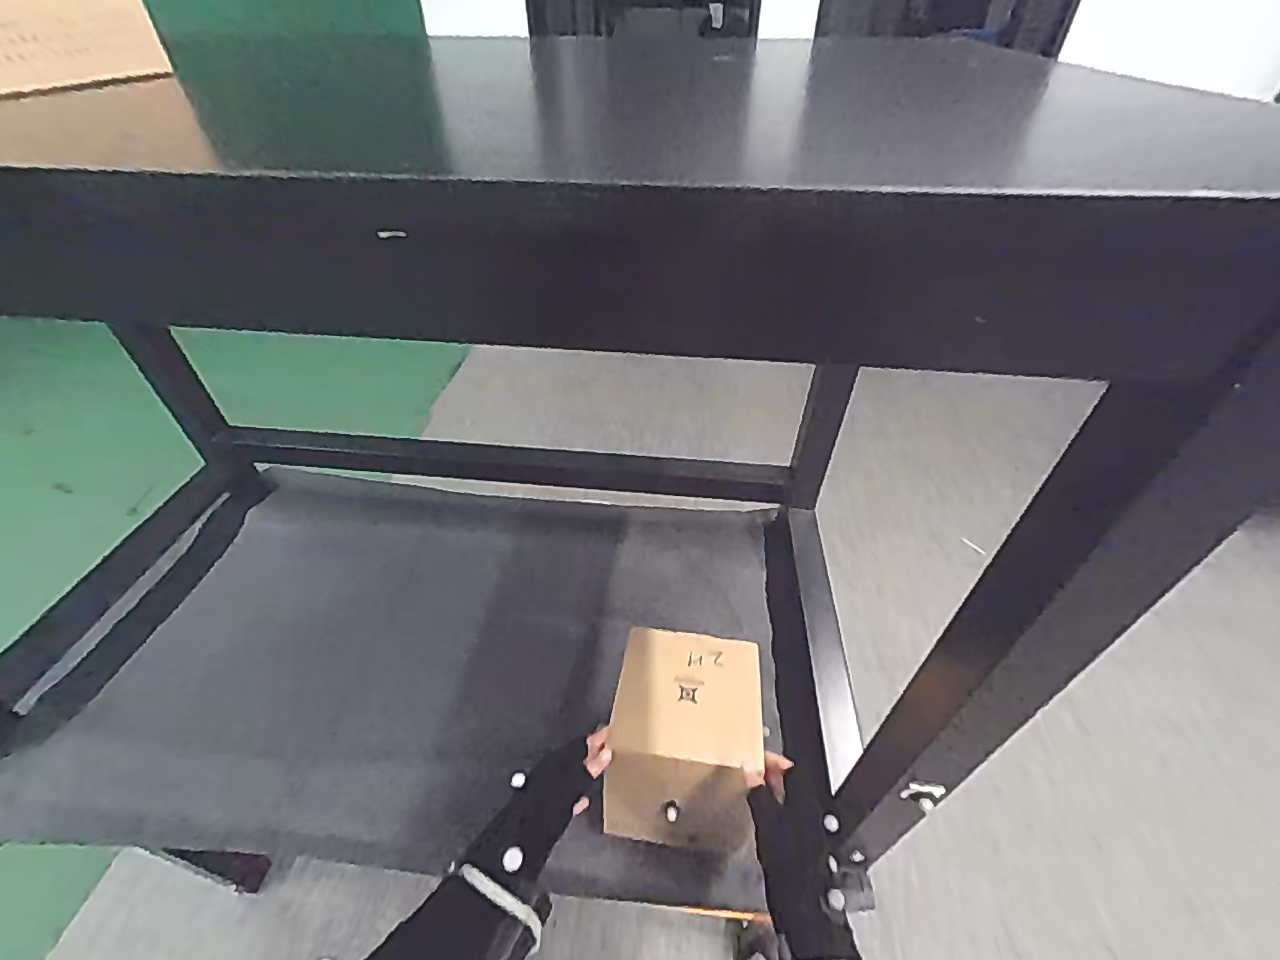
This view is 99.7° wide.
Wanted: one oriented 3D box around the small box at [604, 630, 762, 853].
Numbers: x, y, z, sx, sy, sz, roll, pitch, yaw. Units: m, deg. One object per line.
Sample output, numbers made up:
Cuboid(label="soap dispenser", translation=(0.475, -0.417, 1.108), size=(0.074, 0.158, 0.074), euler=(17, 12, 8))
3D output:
Cuboid(label="small box", translation=(0.054, 0.316, 0.663), size=(0.168, 0.176, 0.179), euler=(7, 30, 6))
